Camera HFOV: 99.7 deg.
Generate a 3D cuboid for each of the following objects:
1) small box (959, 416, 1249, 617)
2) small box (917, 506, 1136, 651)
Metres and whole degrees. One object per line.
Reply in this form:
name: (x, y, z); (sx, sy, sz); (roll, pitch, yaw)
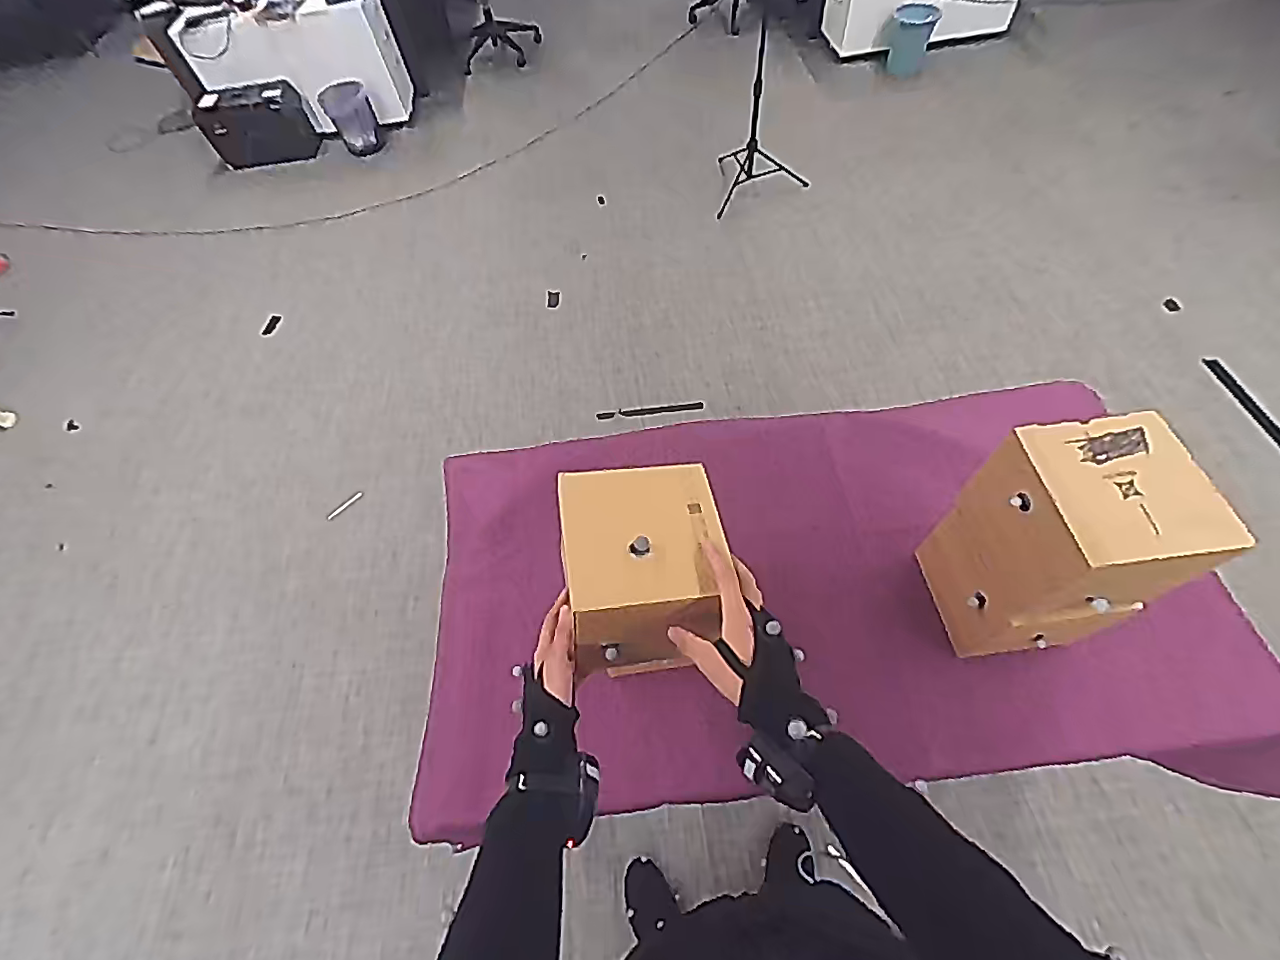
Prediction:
small box: (0.522, 0.049, 0.648); (0.168, 0.176, 0.179); (-7, 59, 2)
small box: (0.536, 0.141, 0.783); (0.168, 0.176, 0.179); (-7, 58, 1)
